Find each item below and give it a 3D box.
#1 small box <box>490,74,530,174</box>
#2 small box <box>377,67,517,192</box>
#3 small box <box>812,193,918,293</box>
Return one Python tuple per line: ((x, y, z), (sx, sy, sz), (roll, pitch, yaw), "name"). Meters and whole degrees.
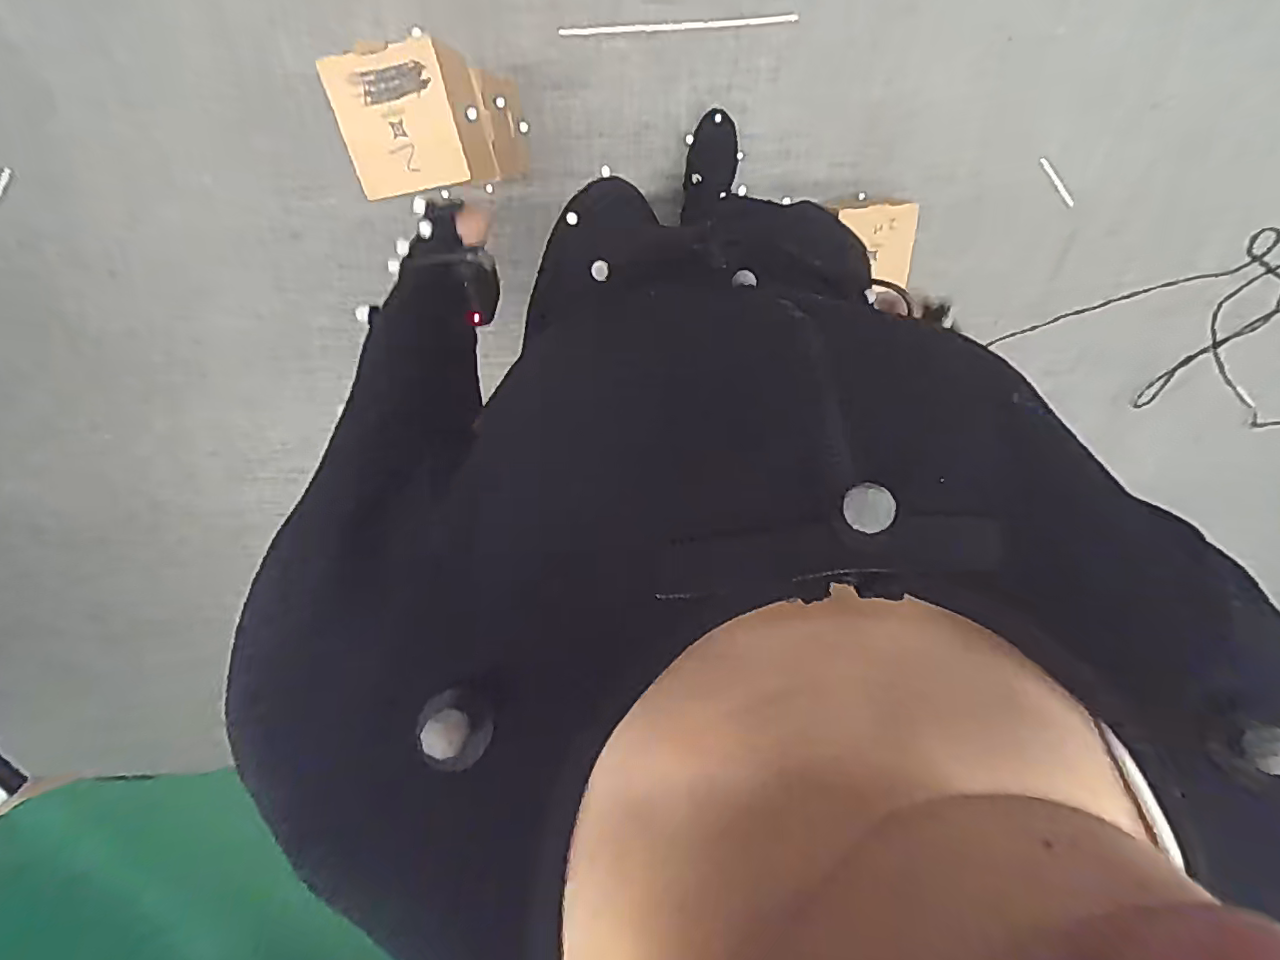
((-0.333, -0.726, 1.119), (0.179, 0.176, 0.168), (-3, 121, 3), "small box")
((-0.334, -0.632, 0.985), (0.179, 0.176, 0.168), (-5, 120, 6), "small box")
((0.492, -0.534, 1.213), (0.168, 0.176, 0.179), (-4, 122, 3), "small box")
